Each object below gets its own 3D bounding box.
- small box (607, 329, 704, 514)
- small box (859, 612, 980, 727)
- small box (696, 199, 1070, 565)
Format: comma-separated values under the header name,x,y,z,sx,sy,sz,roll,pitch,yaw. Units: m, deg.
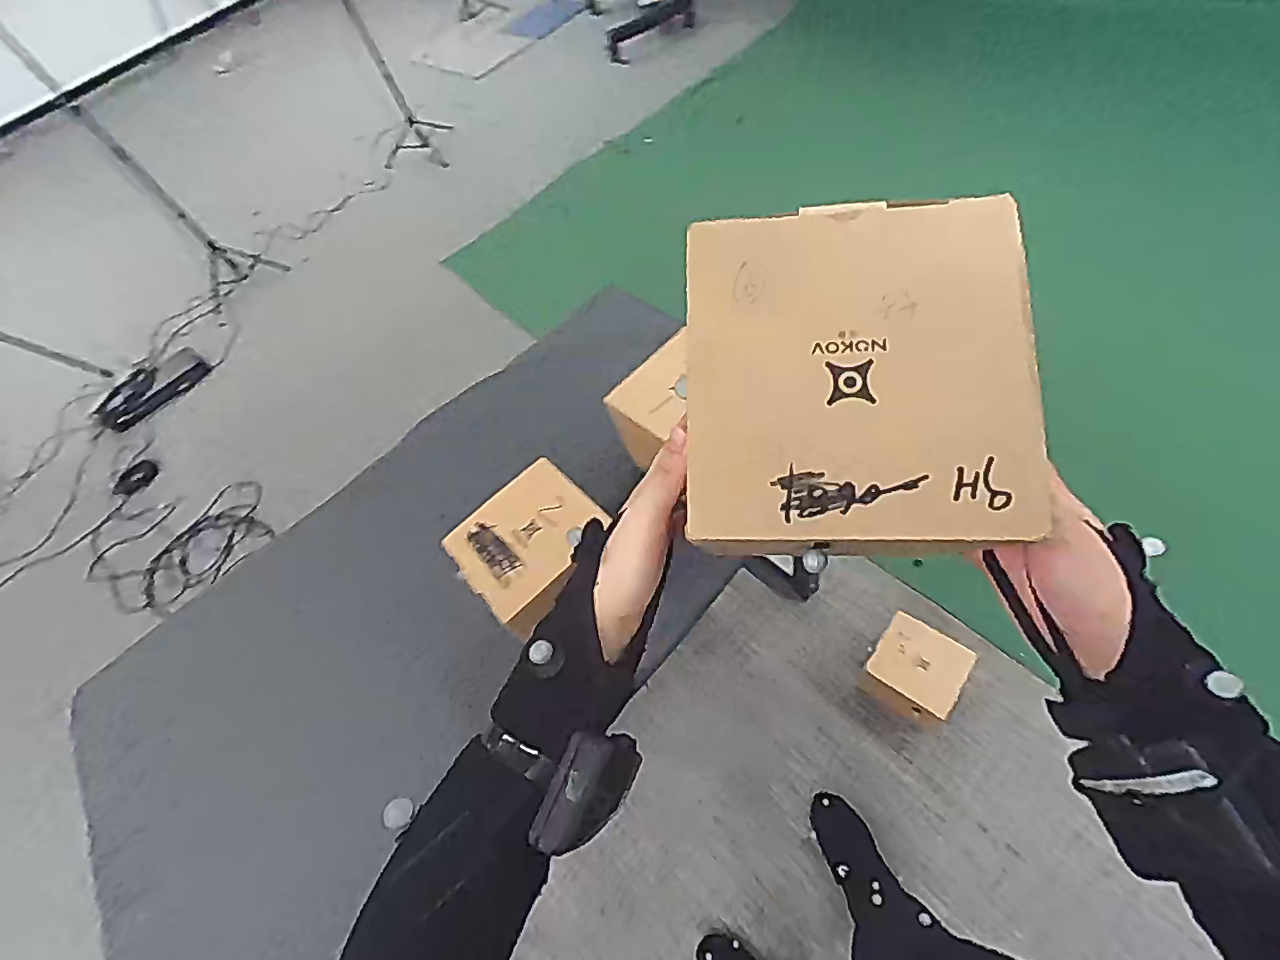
name,x,y,z,sx,sy,sz,roll,pitch,yaw
small box,0.084,-0.083,0.802,0.179,0.176,0.168,-43,54,-12
small box,0.621,0.433,1.221,0.179,0.176,0.168,30,70,29
small box,0.124,-0.040,0.341,0.168,0.176,0.179,0,80,11
